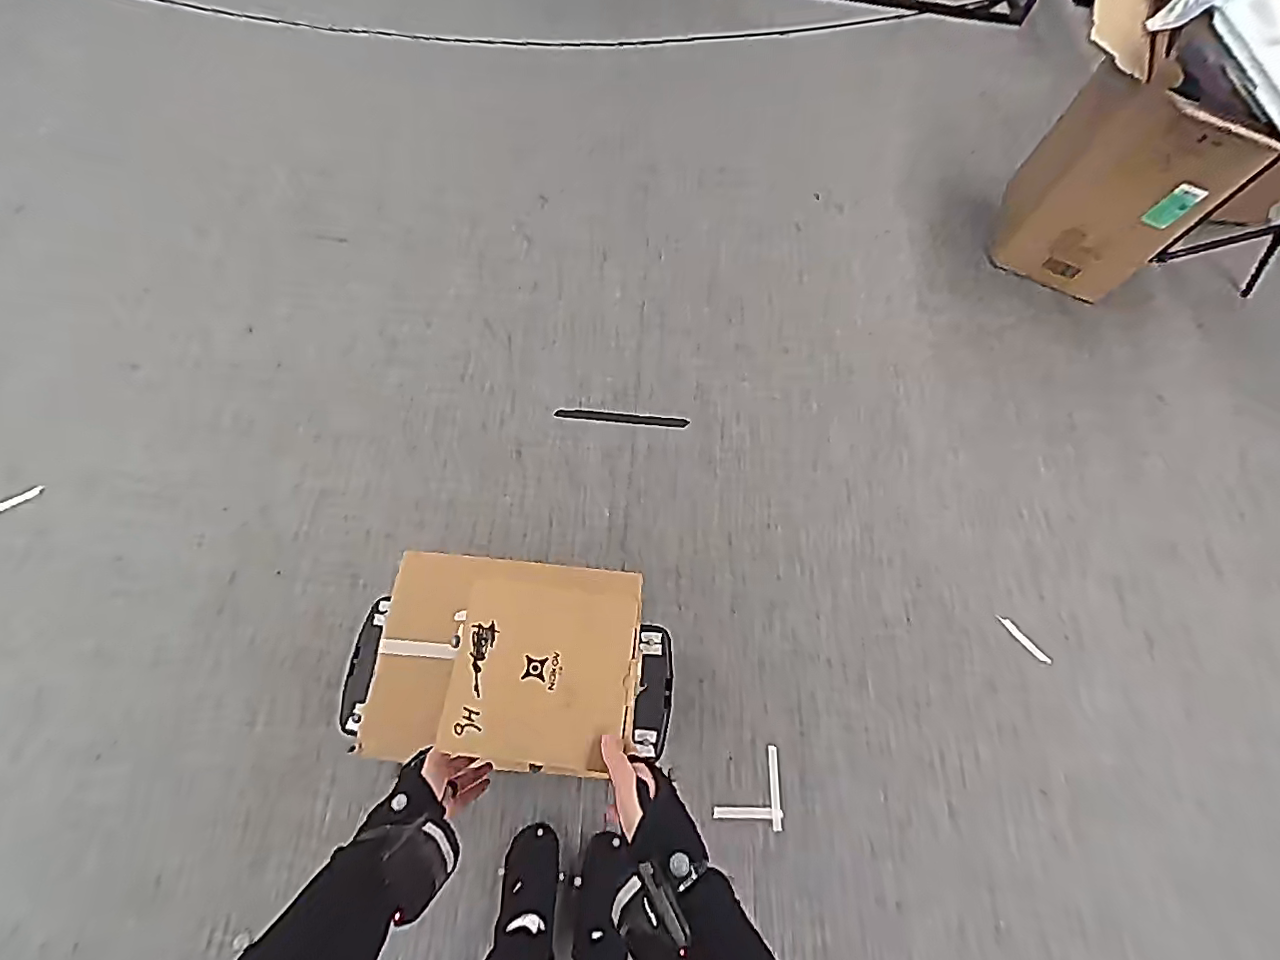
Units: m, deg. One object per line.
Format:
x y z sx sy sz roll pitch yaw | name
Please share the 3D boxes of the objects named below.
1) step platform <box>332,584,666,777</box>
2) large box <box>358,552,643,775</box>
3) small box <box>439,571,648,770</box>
-0.285 0.436 1.190 0.684 0.204 0.286 11 66 0 | step platform
-0.210 0.333 0.981 0.408 0.320 0.320 6 66 -2 | large box
-0.096 0.211 0.598 0.179 0.176 0.168 9 66 -2 | small box
